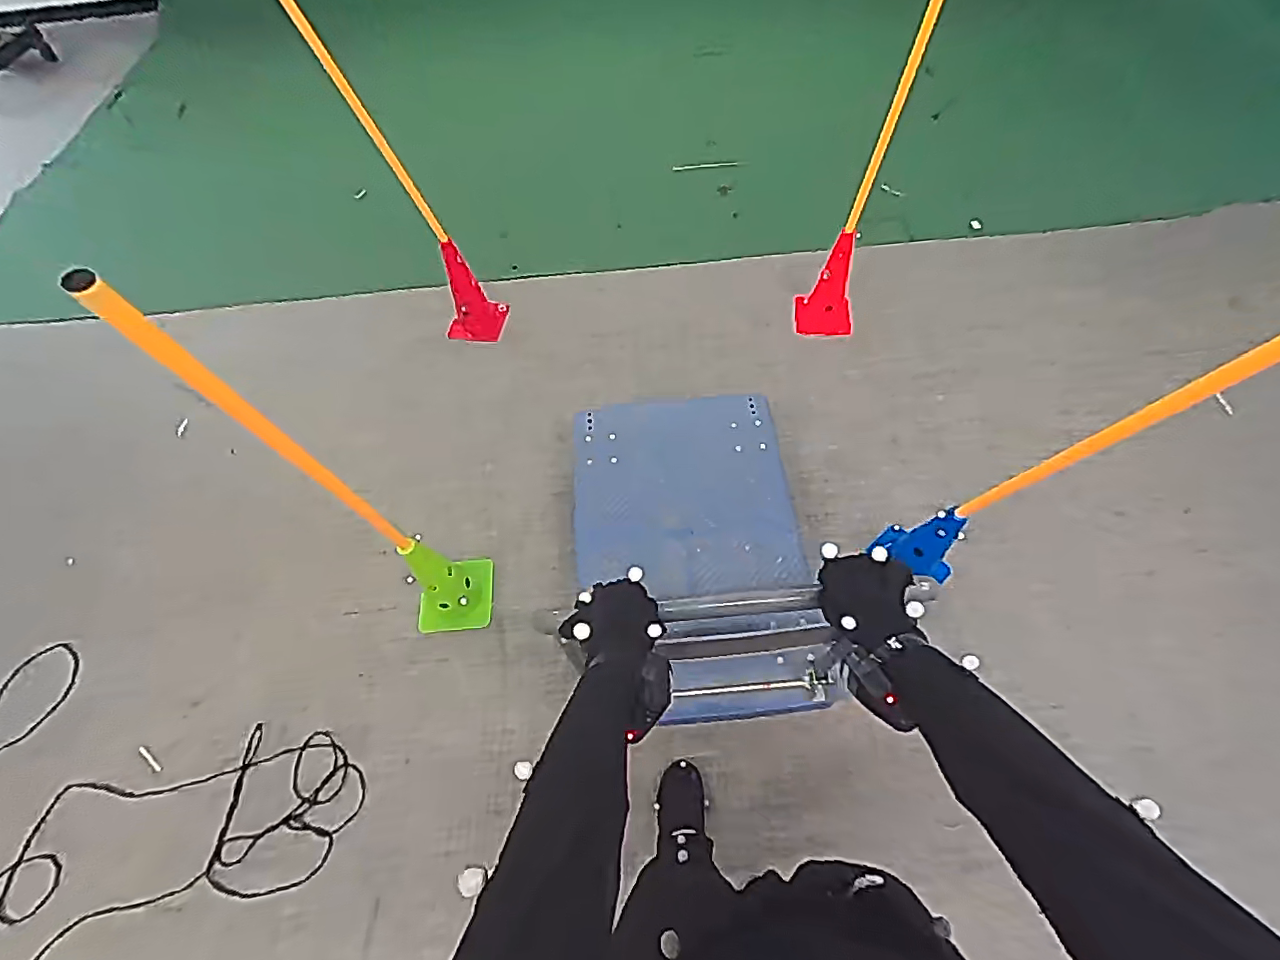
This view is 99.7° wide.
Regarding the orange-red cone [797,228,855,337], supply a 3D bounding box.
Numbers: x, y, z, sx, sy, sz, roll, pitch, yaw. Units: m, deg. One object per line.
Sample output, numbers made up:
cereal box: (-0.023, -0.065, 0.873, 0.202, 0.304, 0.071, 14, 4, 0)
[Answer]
orange-red cone: (0.664, -0.683, 1.833, 0.198, 0.360, 0.199, 4, 62, 7)
